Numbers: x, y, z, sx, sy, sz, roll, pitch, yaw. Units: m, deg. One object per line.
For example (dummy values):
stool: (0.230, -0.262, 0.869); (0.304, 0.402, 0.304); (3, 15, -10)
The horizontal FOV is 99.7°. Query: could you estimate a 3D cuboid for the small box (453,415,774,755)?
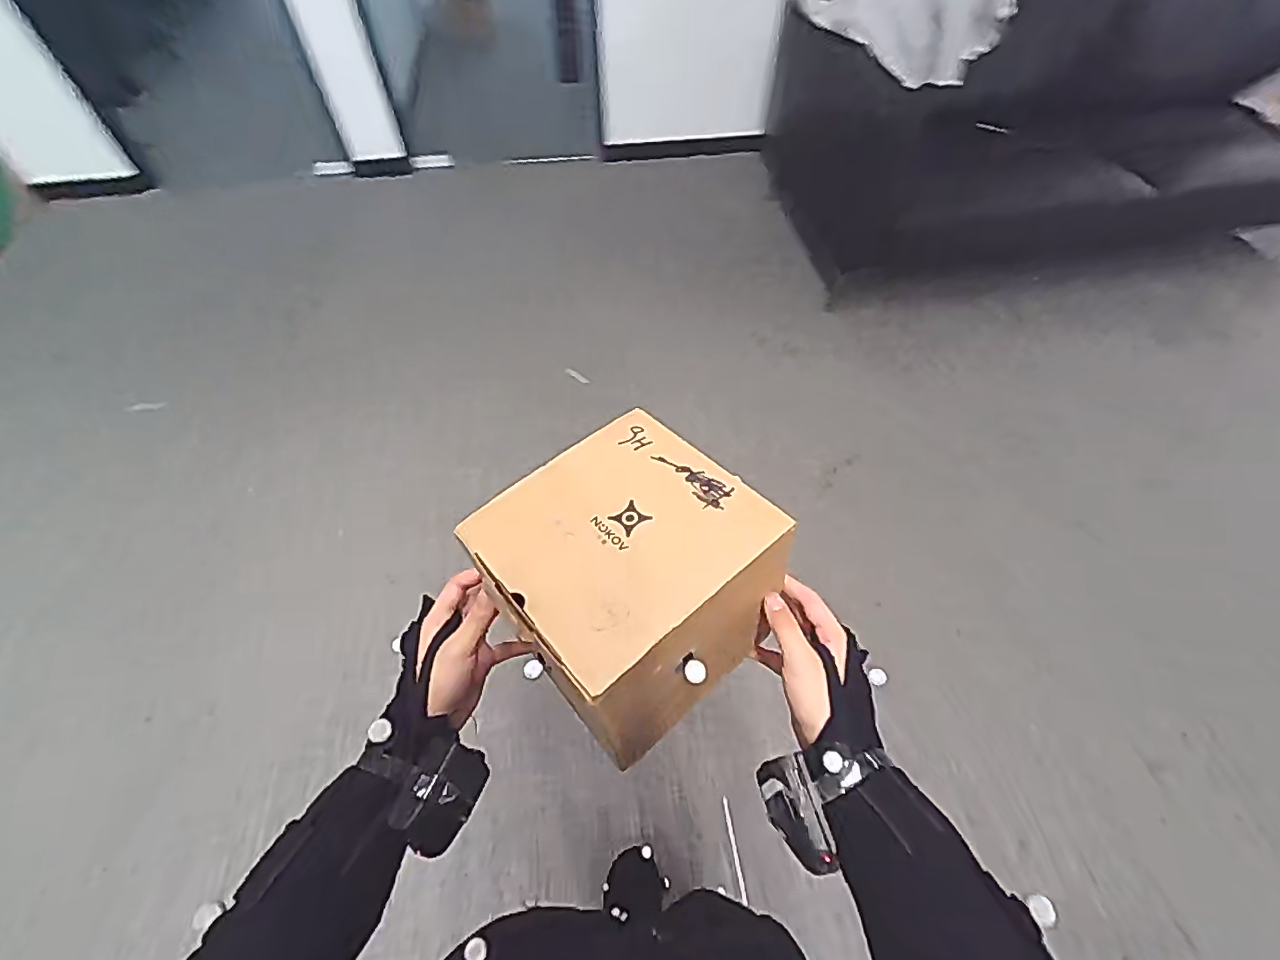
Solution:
small box: (-0.013, 0.086, 0.441); (0.179, 0.176, 0.168); (-37, 56, -22)
